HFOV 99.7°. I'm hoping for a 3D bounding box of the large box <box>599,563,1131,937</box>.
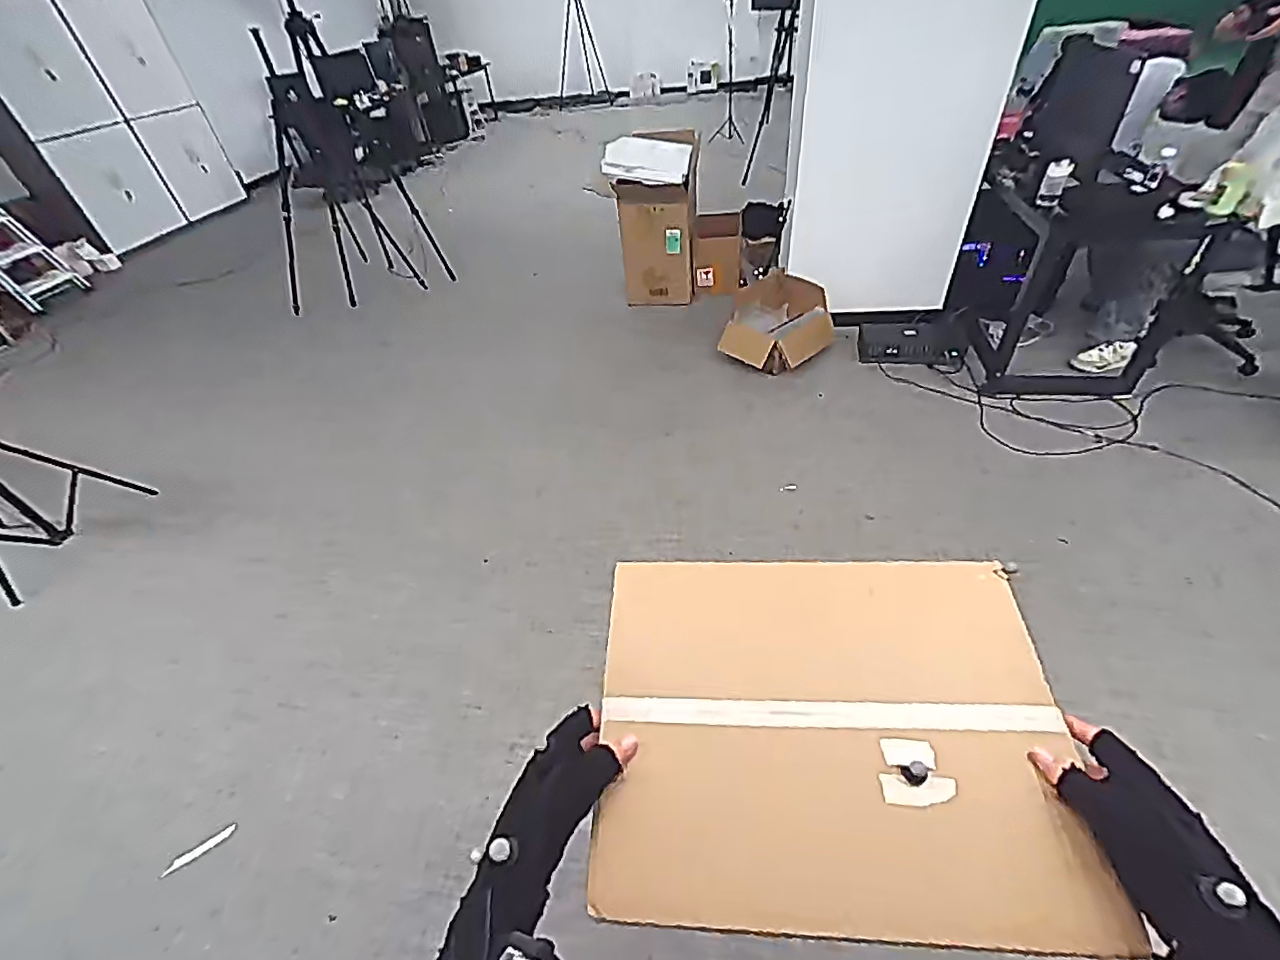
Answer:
[{"bbox_3d":[0.179,0.306,0.617,0.408,0.320,0.320,-1,53,6],"label":"large box"}]
